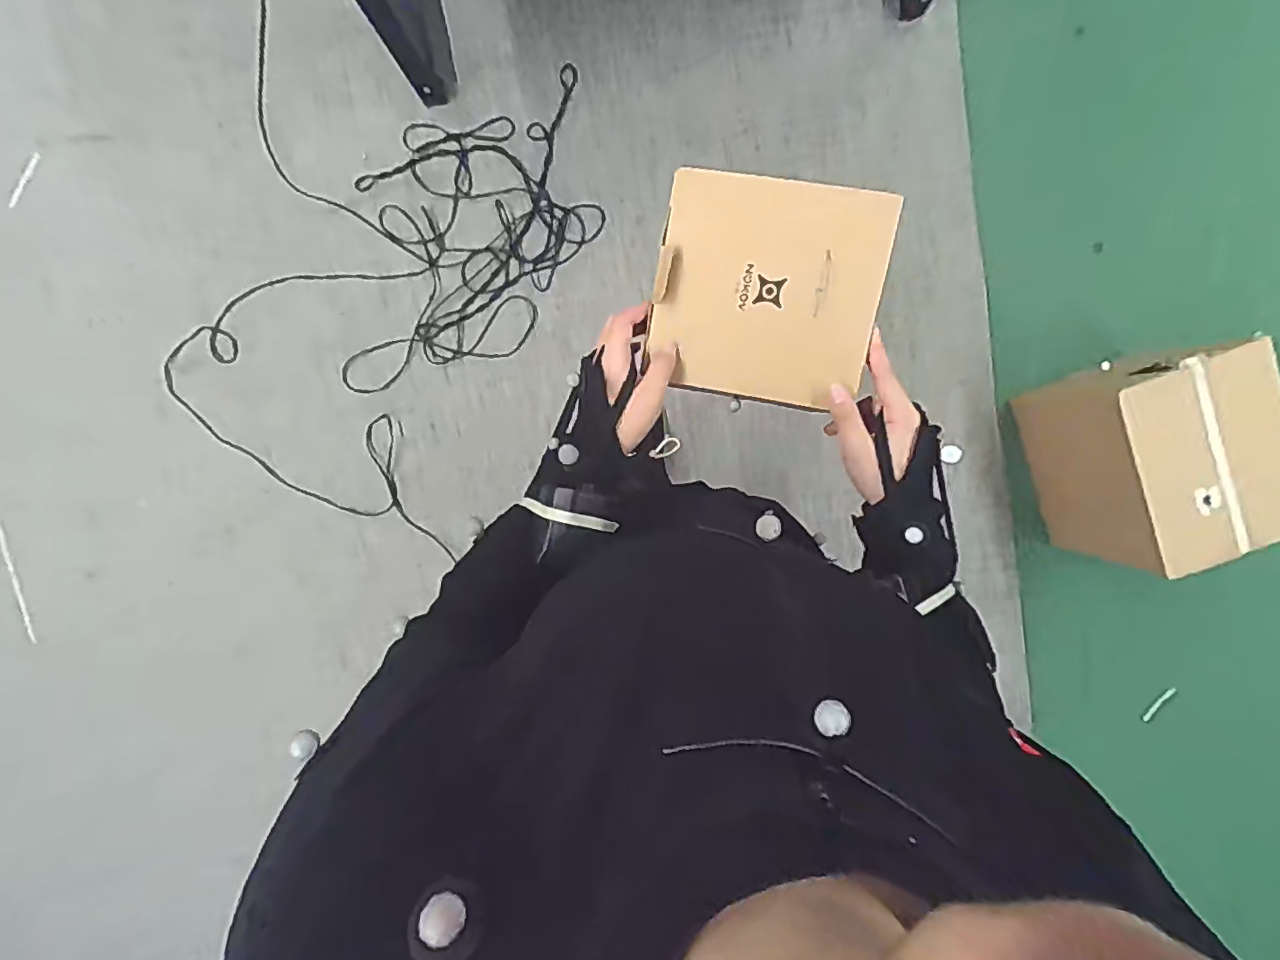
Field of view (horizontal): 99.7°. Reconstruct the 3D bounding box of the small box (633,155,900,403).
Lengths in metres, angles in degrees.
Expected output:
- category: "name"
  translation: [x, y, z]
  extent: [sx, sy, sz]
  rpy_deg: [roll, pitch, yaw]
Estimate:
- category: "small box"
  translation: [0.101, -0.164, 0.492]
  extent: [0.179, 0.176, 0.168]
  rpy_deg: [10, 99, 5]
